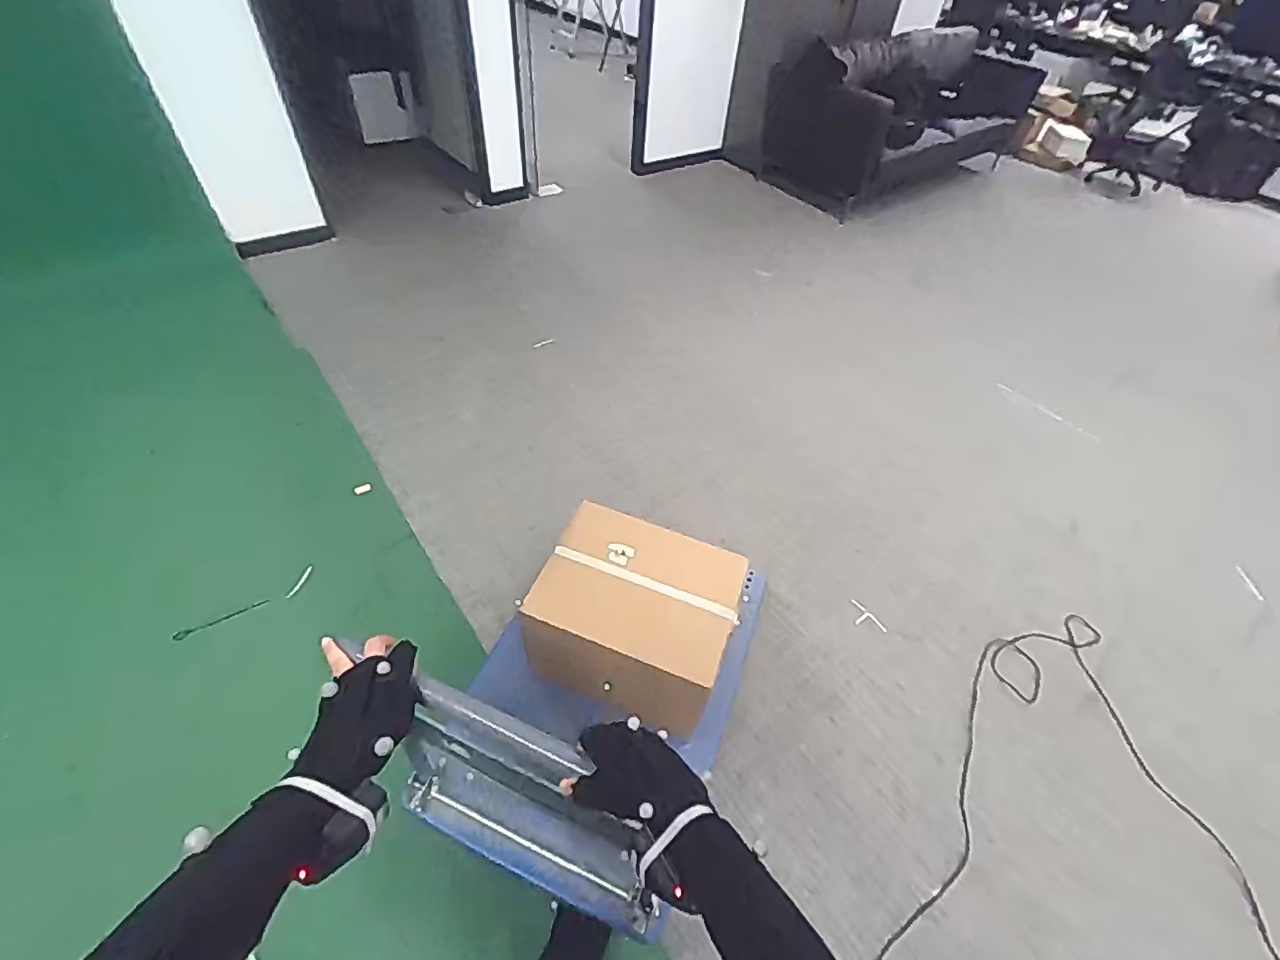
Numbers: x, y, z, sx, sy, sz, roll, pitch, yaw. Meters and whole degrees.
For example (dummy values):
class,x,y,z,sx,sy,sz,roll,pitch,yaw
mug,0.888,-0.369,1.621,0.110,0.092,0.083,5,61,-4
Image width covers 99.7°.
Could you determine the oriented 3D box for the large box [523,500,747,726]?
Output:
class,x,y,z,sx,sy,sz,roll,pitch,yaw
large box,-0.005,0.307,1.249,0.408,0.320,0.320,18,49,11
